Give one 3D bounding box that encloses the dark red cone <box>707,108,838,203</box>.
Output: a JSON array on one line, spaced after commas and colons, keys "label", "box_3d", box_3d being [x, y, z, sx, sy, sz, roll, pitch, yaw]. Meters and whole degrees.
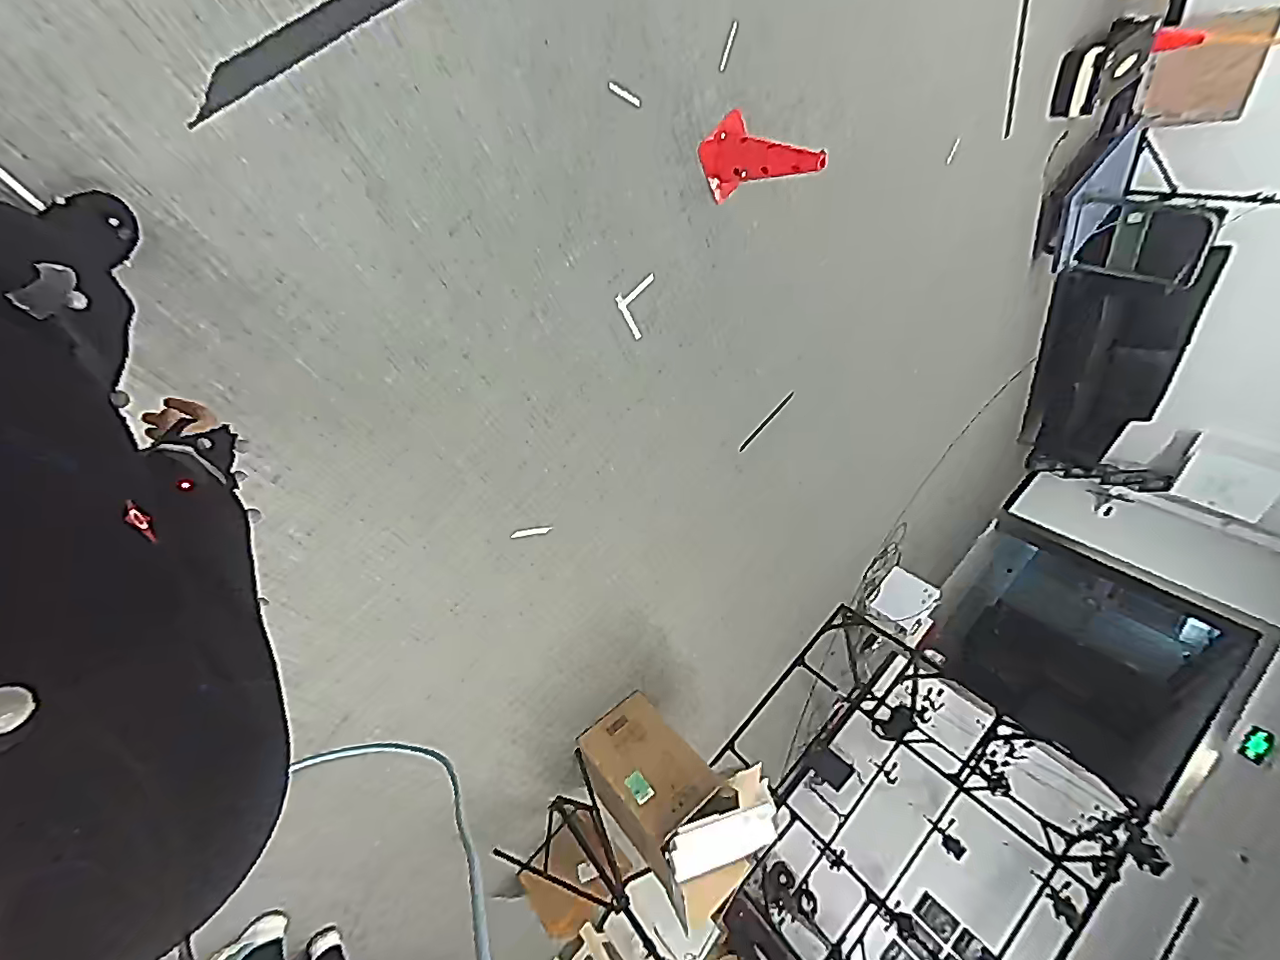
[{"label": "dark red cone", "box_3d": [0.398, -0.932, 1.564, 0.202, 0.394, 0.201, -50, 138, -7]}]
